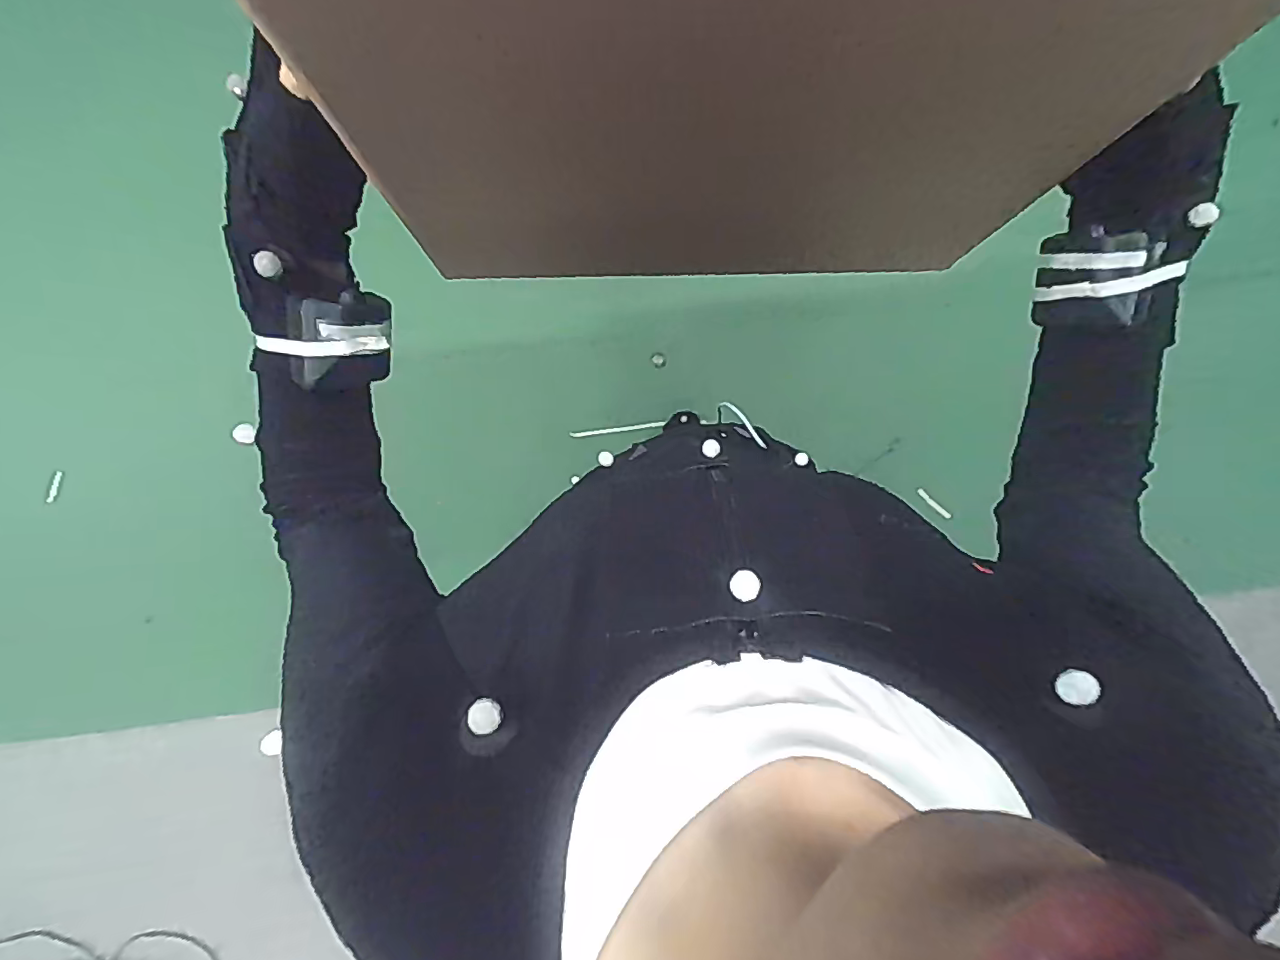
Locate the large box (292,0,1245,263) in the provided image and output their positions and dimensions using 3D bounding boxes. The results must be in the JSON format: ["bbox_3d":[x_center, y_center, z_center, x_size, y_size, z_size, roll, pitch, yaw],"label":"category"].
[{"bbox_3d":[0.050,-0.335,0.288,0.408,0.320,0.320,-2,86,-3],"label":"large box"}]
